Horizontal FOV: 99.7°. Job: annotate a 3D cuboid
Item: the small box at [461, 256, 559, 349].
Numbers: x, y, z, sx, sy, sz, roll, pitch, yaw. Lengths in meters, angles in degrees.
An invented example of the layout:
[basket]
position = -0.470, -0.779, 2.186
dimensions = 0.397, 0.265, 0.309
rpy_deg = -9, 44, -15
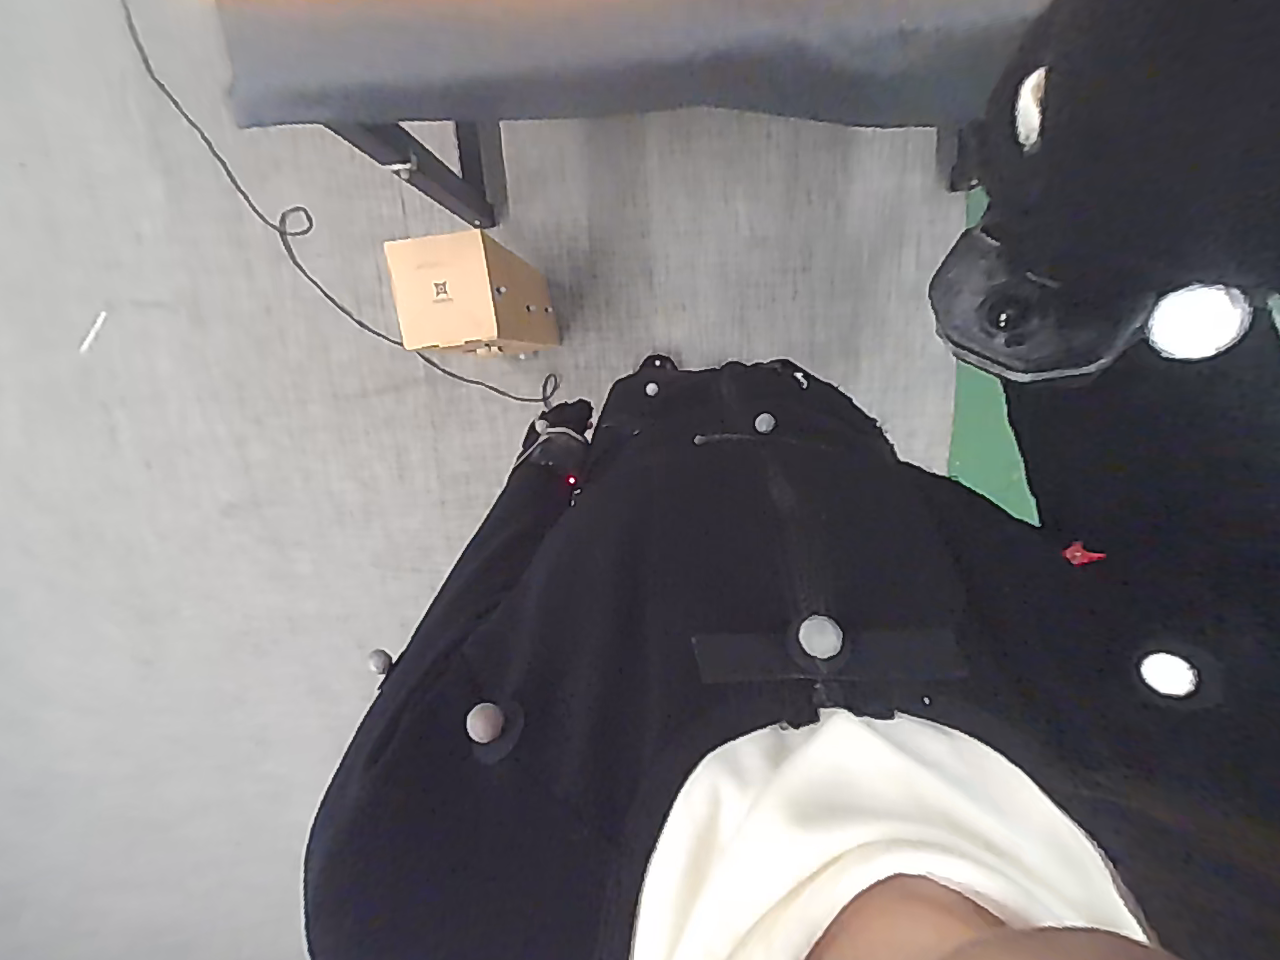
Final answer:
[small box]
position = -0.301, -0.413, 1.284
dimensions = 0.168, 0.176, 0.179
rpy_deg = -9, 103, 5
